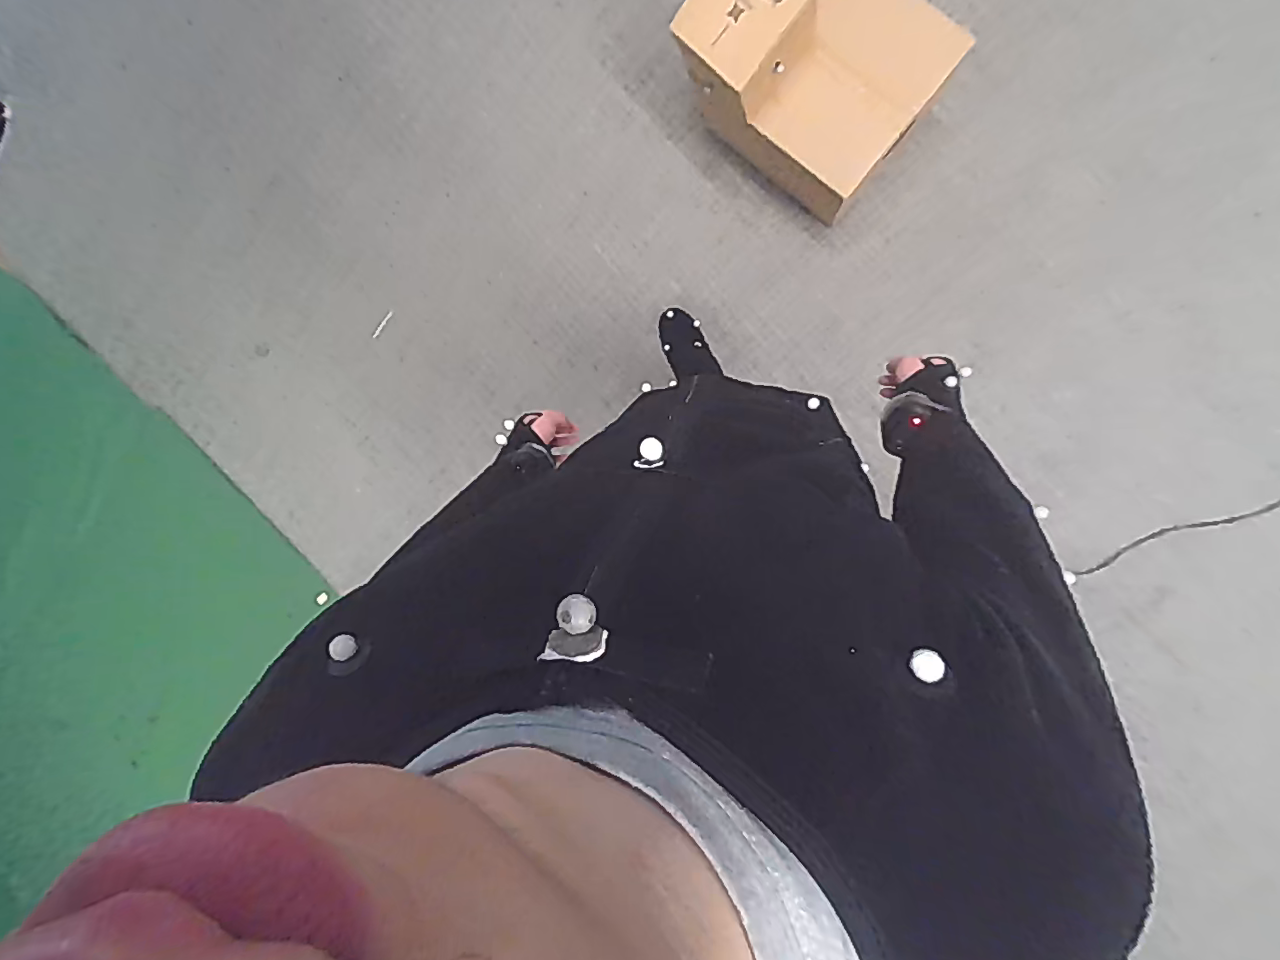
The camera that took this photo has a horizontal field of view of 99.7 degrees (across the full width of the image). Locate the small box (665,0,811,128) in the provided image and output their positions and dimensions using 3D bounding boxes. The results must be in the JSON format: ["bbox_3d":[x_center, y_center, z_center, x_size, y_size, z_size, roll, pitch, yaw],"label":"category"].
[{"bbox_3d":[0.171,-0.765,0.938,0.168,0.176,0.179,43,113,0],"label":"small box"}]
